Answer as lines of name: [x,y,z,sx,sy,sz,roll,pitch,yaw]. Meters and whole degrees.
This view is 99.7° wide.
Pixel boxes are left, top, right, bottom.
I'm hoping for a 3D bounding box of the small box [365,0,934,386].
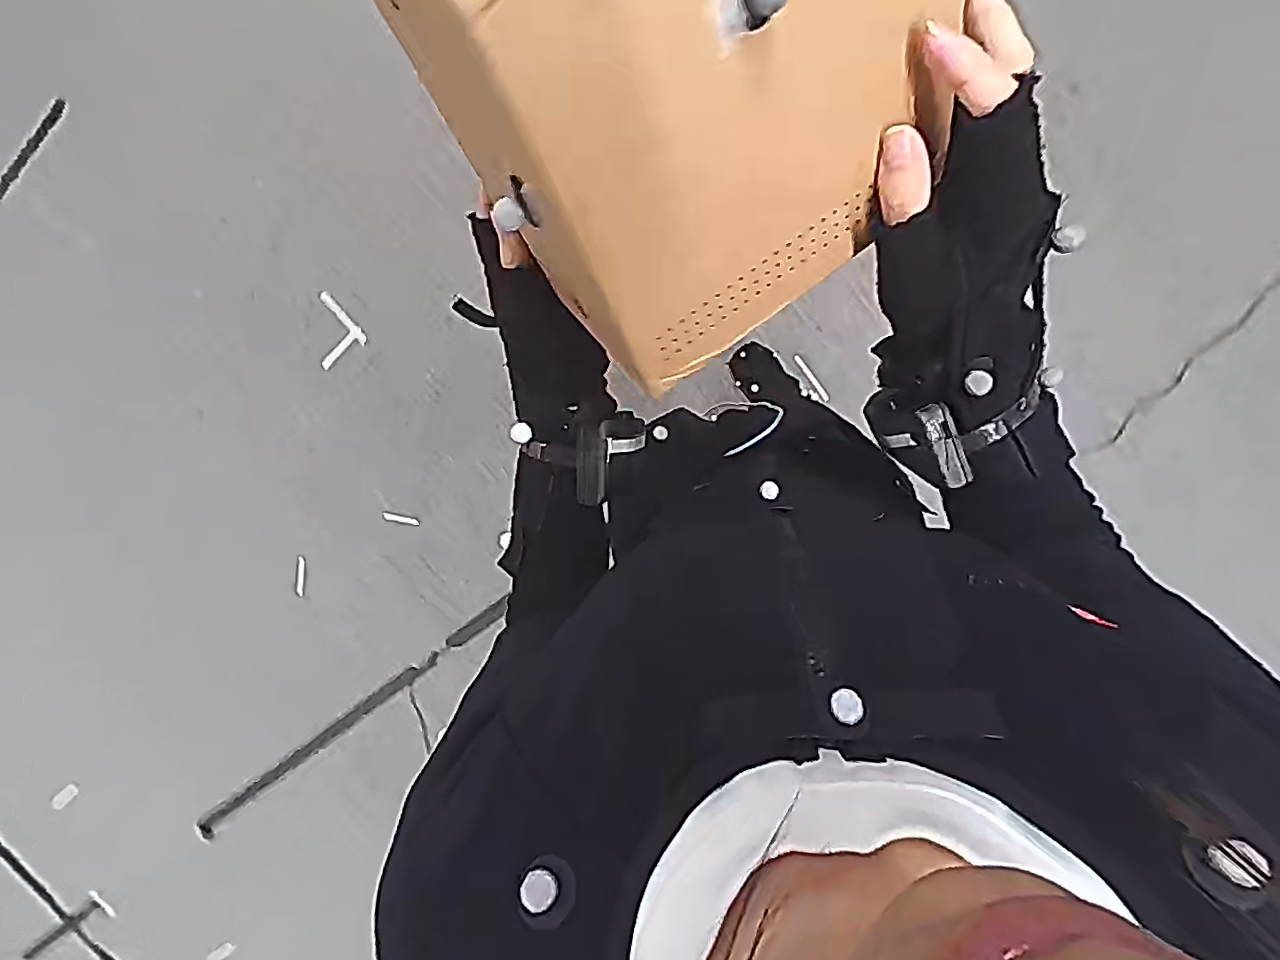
small box: [0.013,-0.177,0.249,0.179,0.176,0.168,-37,53,-4]
